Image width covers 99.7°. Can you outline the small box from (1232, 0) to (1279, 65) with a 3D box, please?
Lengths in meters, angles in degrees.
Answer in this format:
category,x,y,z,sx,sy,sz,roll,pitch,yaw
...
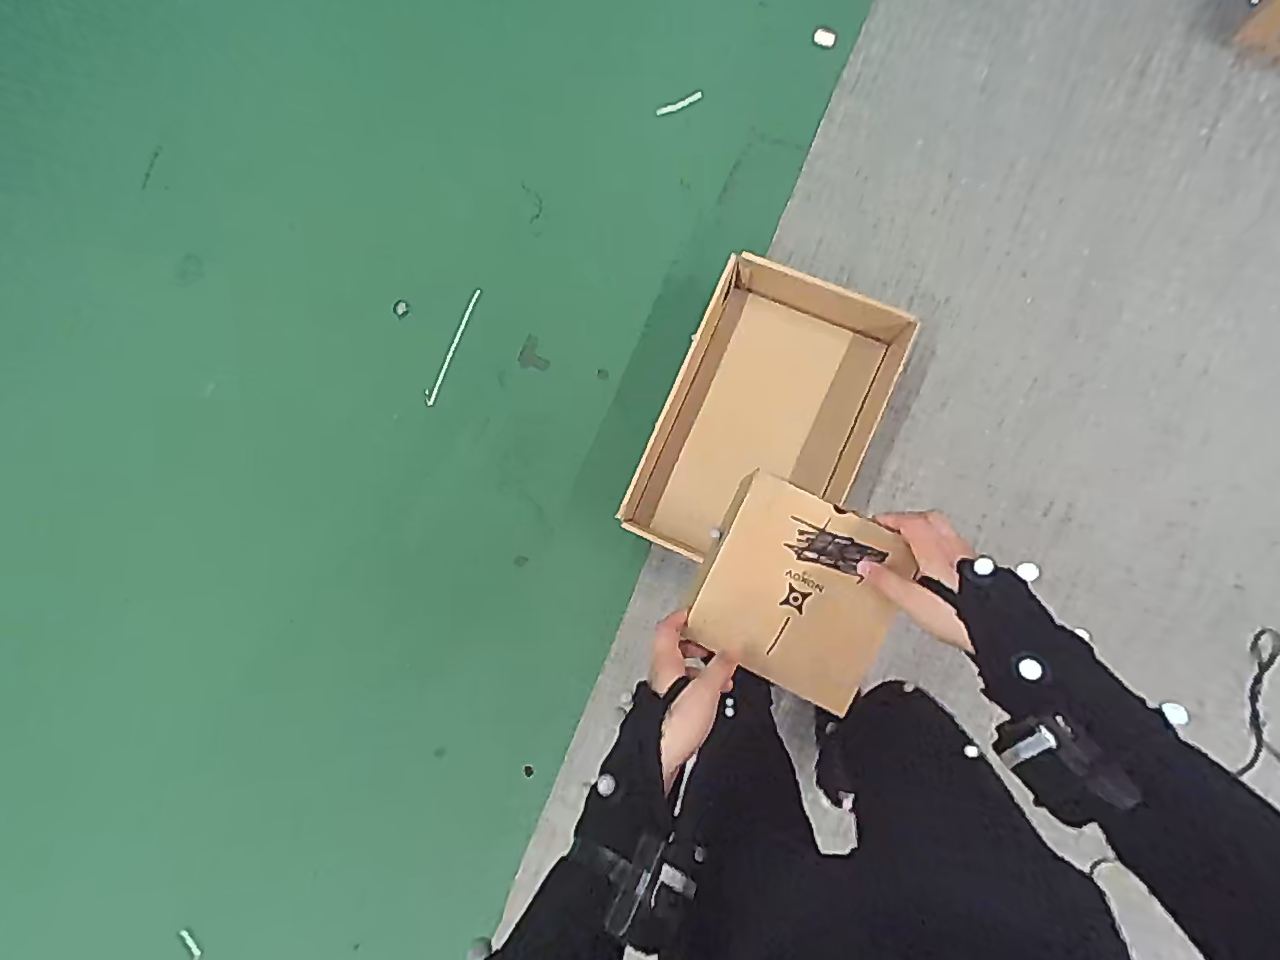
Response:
category,x,y,z,sx,sy,sz,roll,pitch,yaw
small box,1.383,-0.992,1.093,0.168,0.176,0.179,34,91,8

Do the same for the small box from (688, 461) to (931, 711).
category,x,y,z,sx,sy,sz,roll,pitch,yaw
small box,0.158,0.098,0.567,0.168,0.176,0.179,26,90,7
